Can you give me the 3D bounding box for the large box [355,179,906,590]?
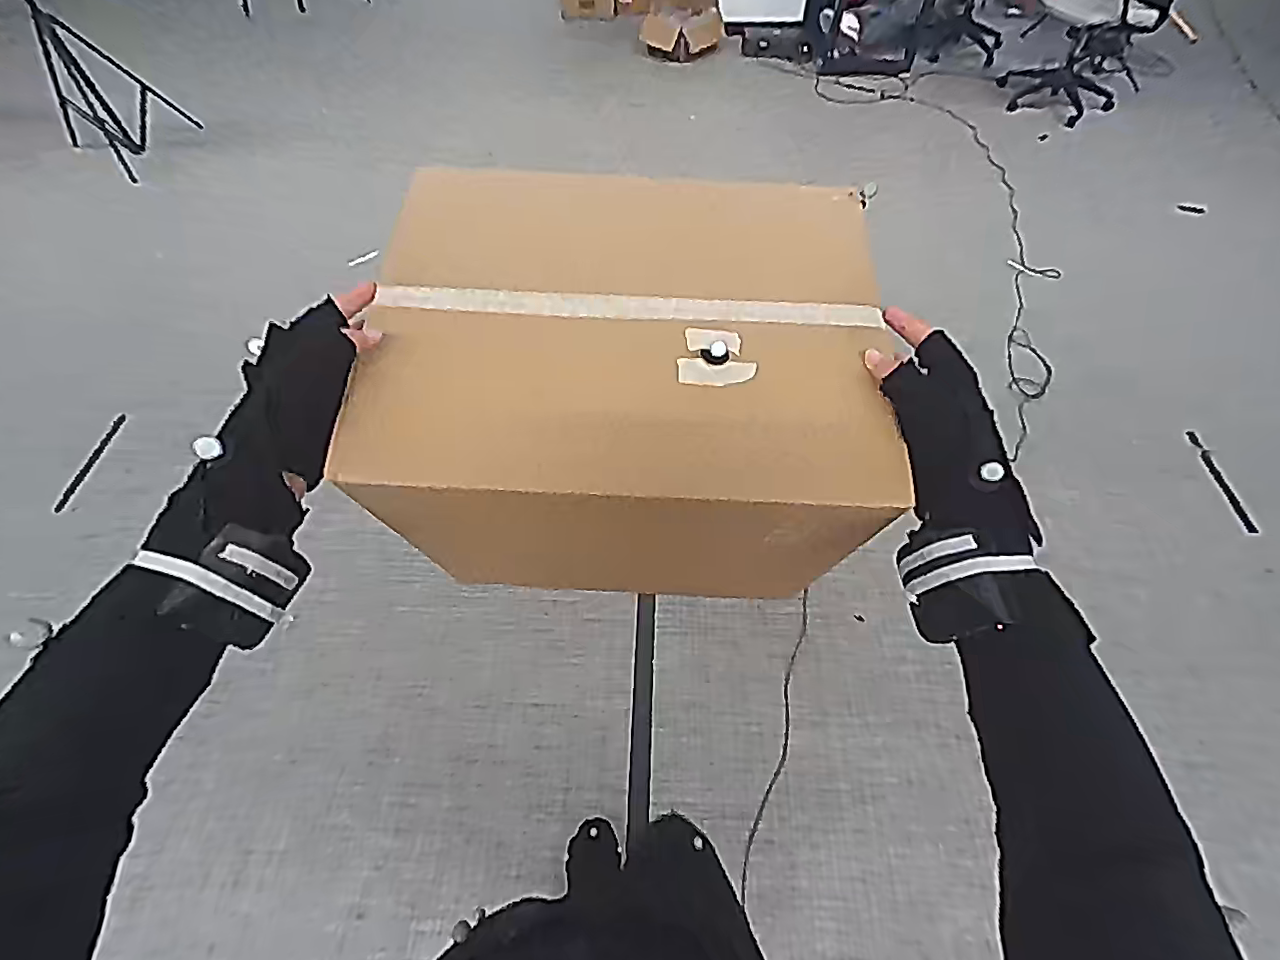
[{"bbox_3d":[-0.007,-0.072,0.579,0.408,0.320,0.320,3,67,-1],"label":"large box"}]
